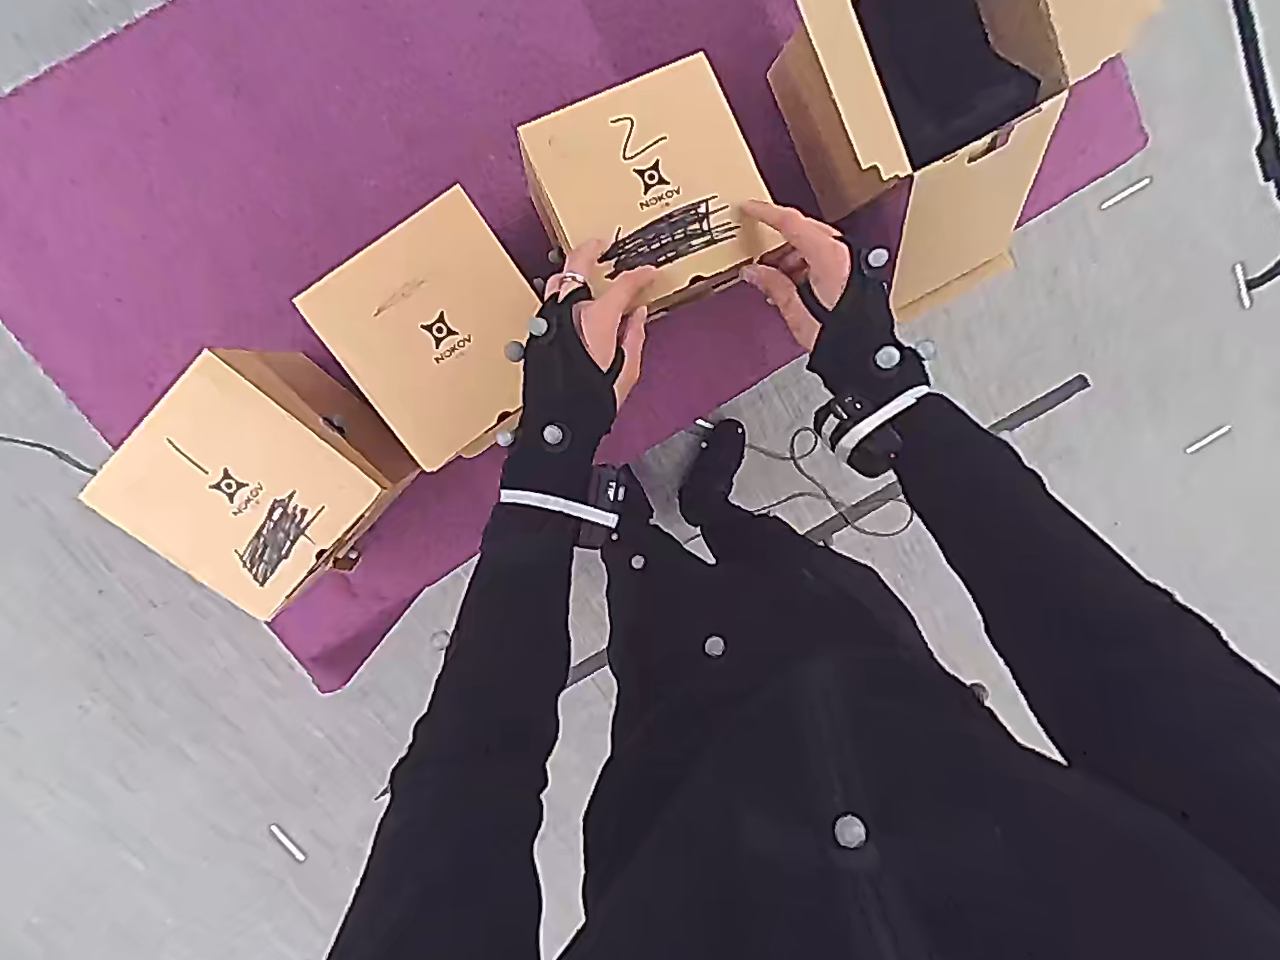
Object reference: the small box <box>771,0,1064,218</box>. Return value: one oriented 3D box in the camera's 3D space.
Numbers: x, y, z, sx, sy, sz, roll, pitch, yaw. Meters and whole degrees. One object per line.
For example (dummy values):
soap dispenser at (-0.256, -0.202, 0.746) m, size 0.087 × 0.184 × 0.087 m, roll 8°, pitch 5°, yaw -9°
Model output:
small box at (0.255, -0.397, 0.535) m, size 0.168 × 0.176 × 0.179 m, roll -29°, pitch 104°, yaw -1°
